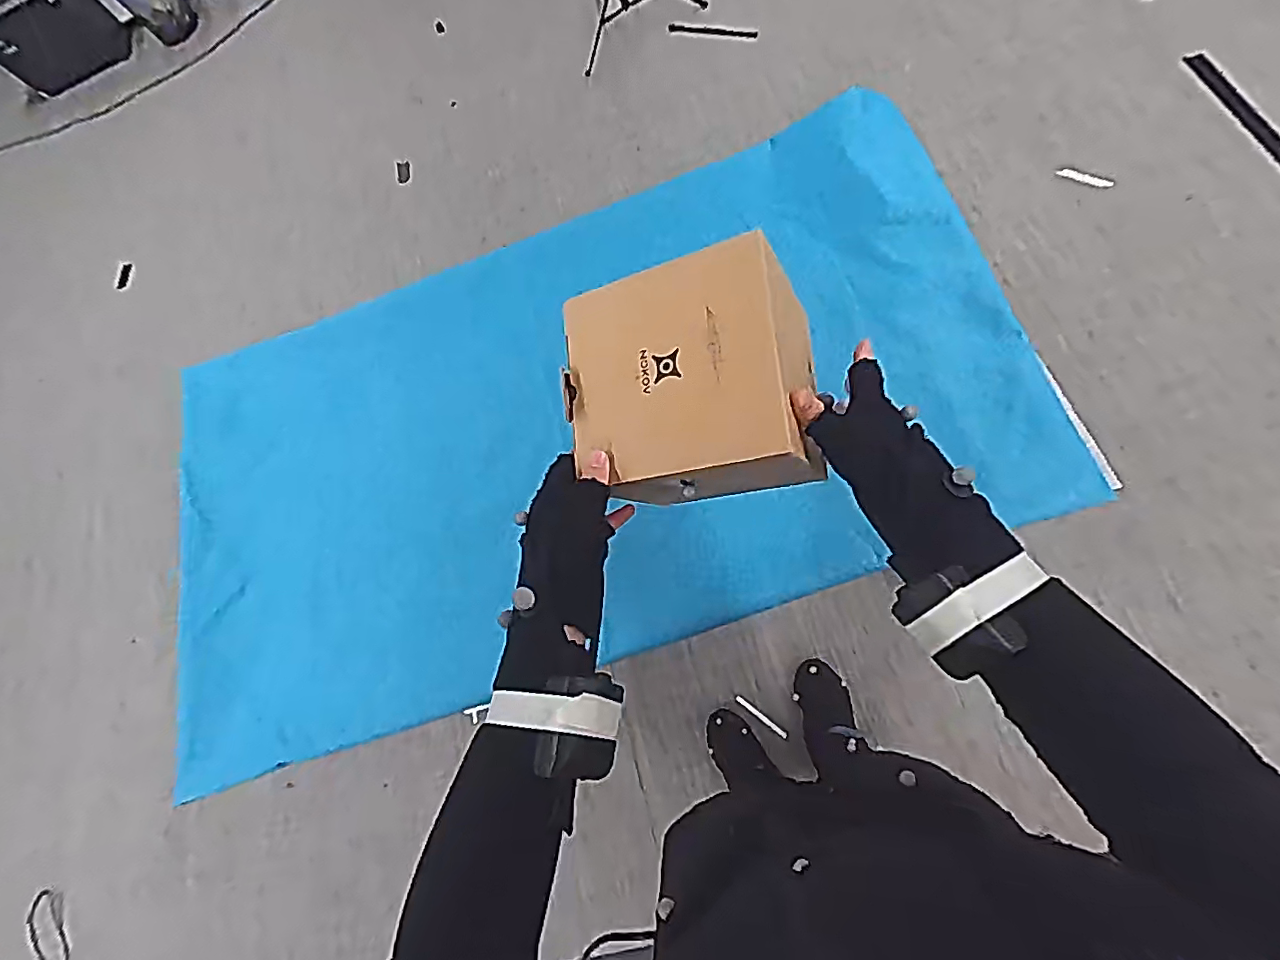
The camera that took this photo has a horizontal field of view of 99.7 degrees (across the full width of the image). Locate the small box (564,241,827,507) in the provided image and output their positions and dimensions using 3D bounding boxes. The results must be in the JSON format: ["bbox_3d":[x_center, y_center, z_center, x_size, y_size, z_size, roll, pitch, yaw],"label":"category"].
[{"bbox_3d":[0.054,-0.070,0.478,0.179,0.176,0.168,-9,80,27],"label":"small box"}]
